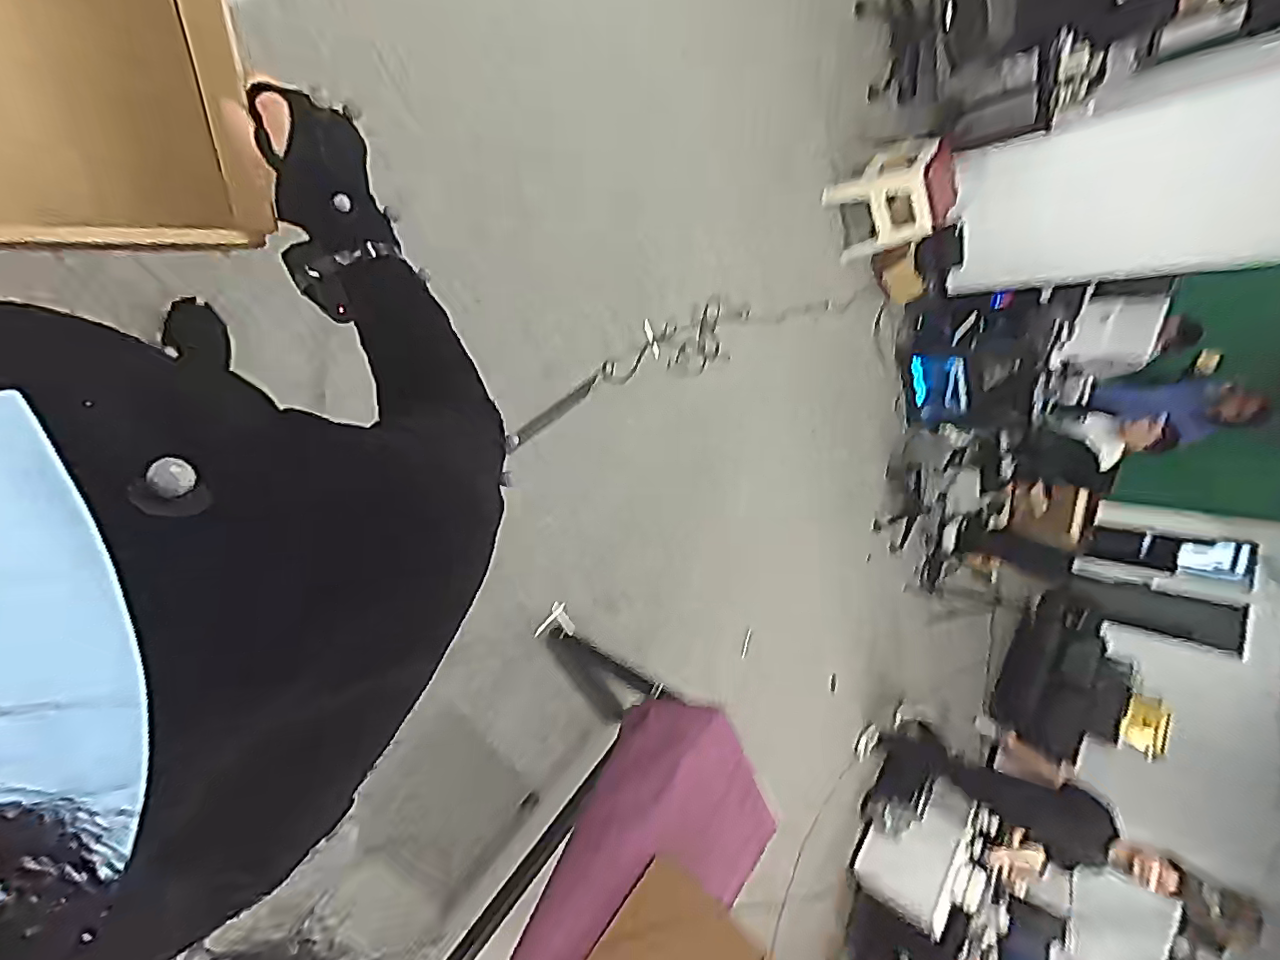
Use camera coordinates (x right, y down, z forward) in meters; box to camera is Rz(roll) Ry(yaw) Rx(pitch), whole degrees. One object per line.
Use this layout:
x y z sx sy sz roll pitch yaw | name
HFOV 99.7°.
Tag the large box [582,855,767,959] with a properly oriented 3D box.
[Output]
0.055 1.126 1.132 0.408 0.320 0.320 -44 127 -31 | large box
